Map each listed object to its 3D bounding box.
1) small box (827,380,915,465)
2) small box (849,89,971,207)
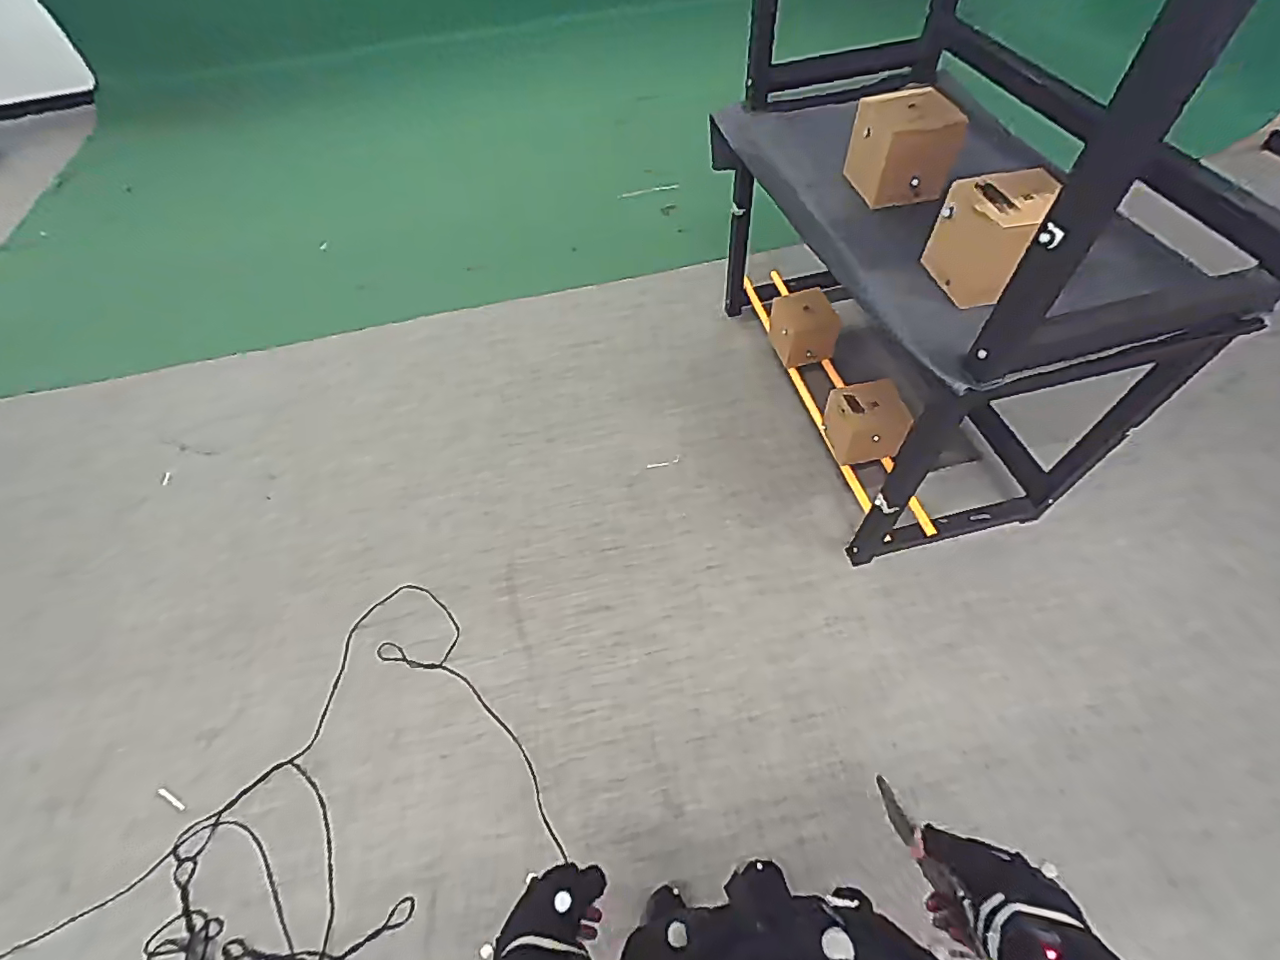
[{"bbox_3d":[0.662,-0.163,1.578,0.179,0.176,0.168,-10,56,-1],"label":"small box"},{"bbox_3d":[0.597,-0.751,1.228,0.168,0.176,0.179,-11,55,-2],"label":"small box"}]
